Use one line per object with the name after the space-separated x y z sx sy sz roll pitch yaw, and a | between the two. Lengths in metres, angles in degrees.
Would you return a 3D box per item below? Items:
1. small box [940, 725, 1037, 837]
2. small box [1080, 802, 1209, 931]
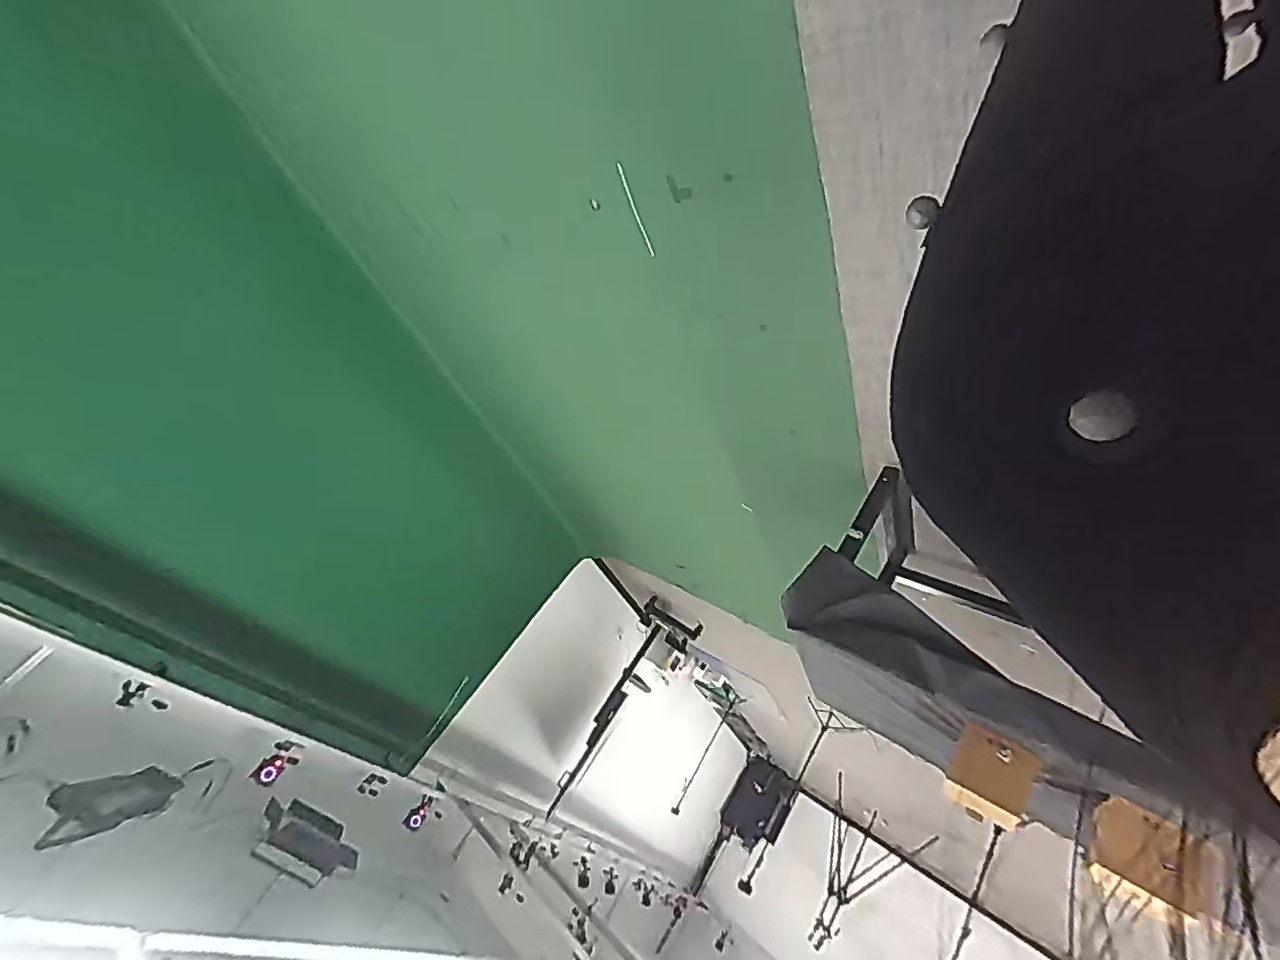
0.892 0.768 1.388 0.168 0.176 0.179 19 150 38 | small box
1.120 0.855 1.204 0.168 0.176 0.179 20 152 38 | small box
